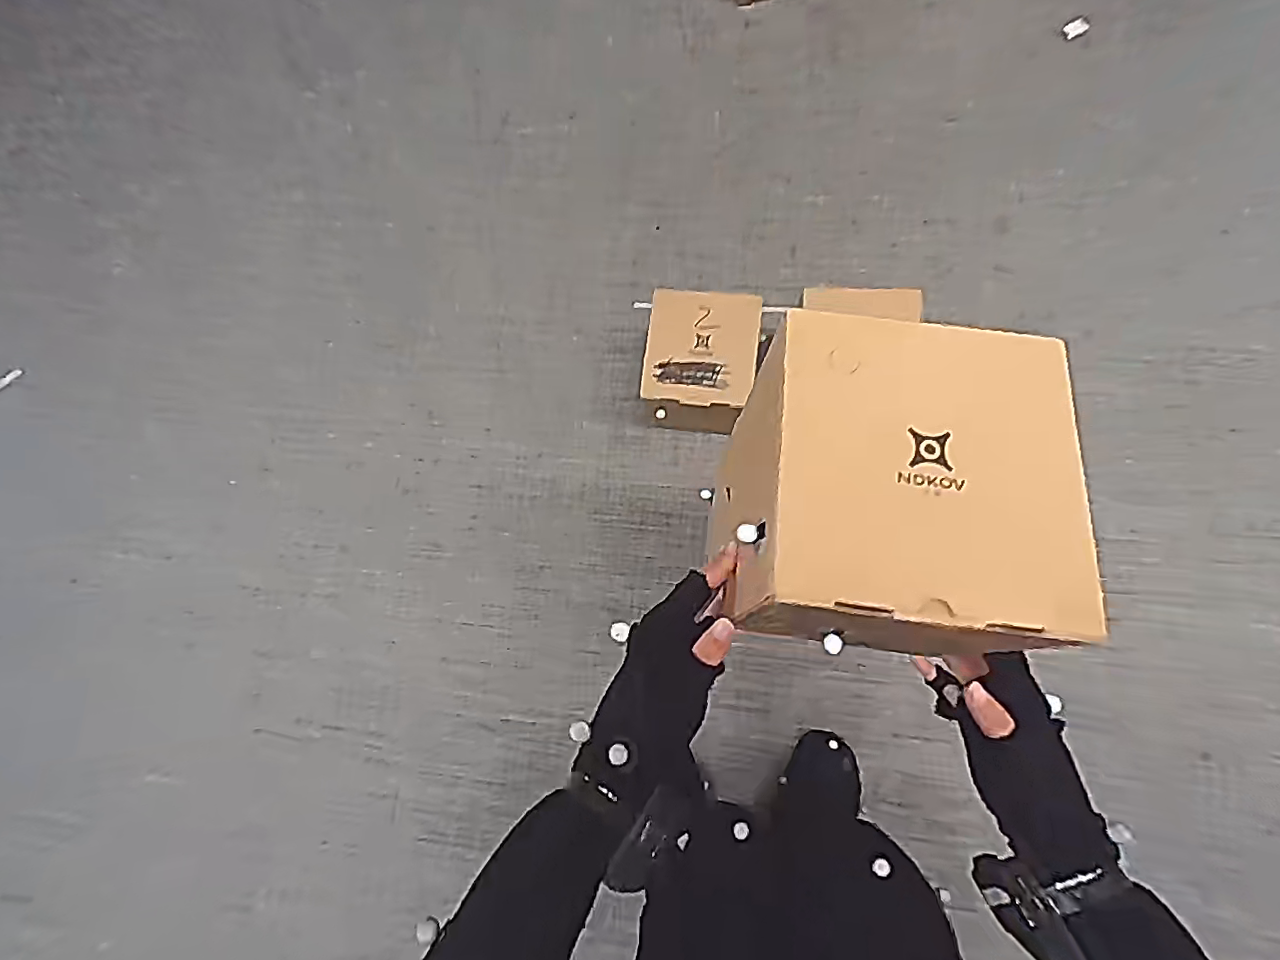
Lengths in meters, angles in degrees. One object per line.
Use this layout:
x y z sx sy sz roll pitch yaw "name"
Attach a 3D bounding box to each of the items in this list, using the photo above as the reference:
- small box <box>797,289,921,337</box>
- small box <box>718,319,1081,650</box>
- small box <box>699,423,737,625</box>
0.322 -0.175 0.846 0.168 0.176 0.179 4 82 8 "small box"
0.153 0.017 0.382 0.168 0.176 0.179 7 70 1 "small box"
0.158 0.060 0.539 0.179 0.176 0.168 7 70 1 "small box"
